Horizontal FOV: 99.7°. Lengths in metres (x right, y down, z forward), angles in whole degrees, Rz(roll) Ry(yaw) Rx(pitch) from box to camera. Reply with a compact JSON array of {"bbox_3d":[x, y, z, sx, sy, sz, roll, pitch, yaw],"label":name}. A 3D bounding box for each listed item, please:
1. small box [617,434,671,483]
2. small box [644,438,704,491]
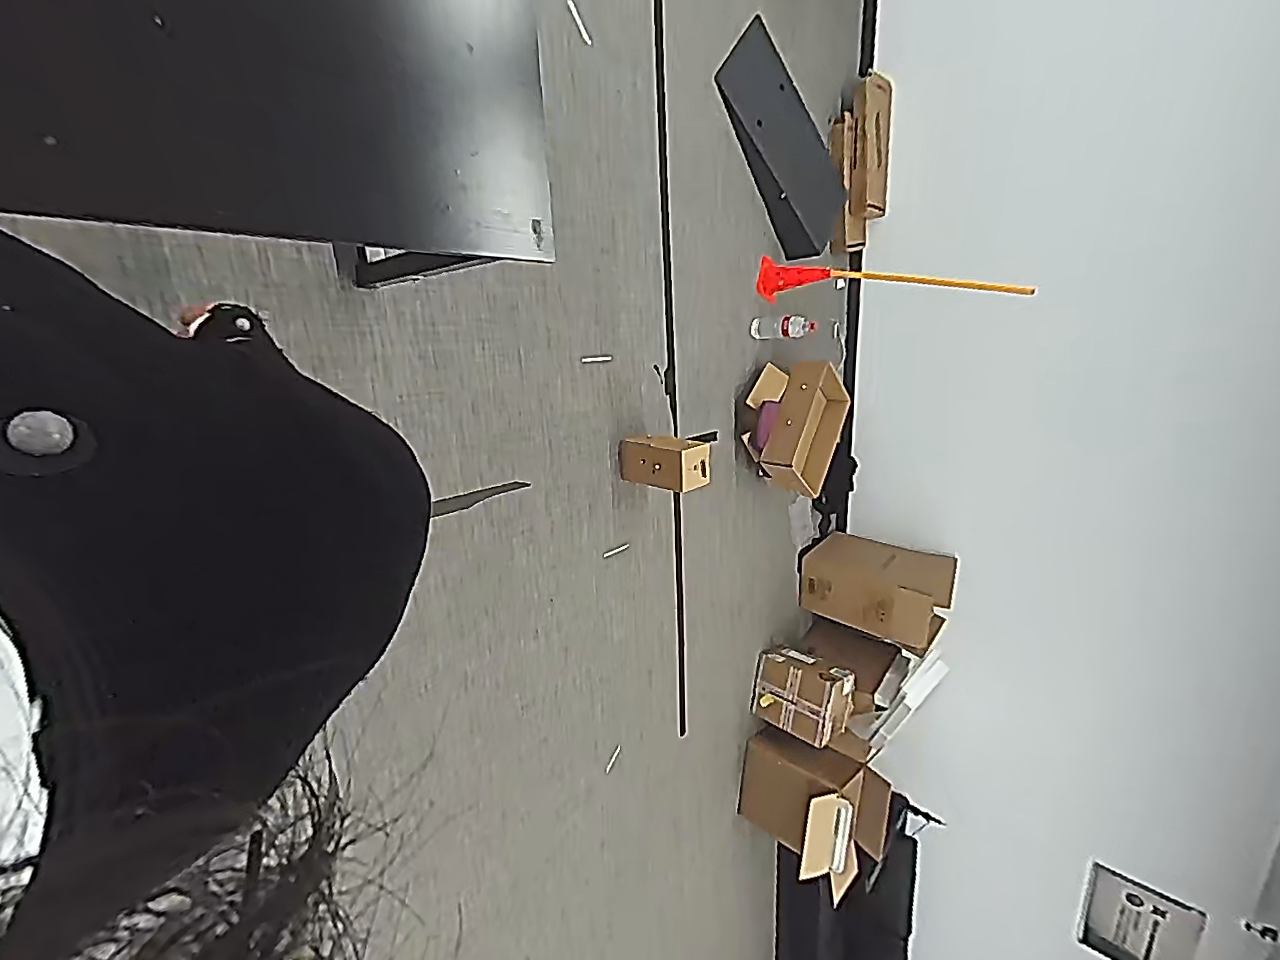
[{"bbox_3d":[0.016,-0.093,2.236,0.168,0.176,0.179,-18,112,-45],"label":"small box"},{"bbox_3d":[0.134,-0.065,2.125,0.179,0.176,0.168,-18,111,-45],"label":"small box"}]
